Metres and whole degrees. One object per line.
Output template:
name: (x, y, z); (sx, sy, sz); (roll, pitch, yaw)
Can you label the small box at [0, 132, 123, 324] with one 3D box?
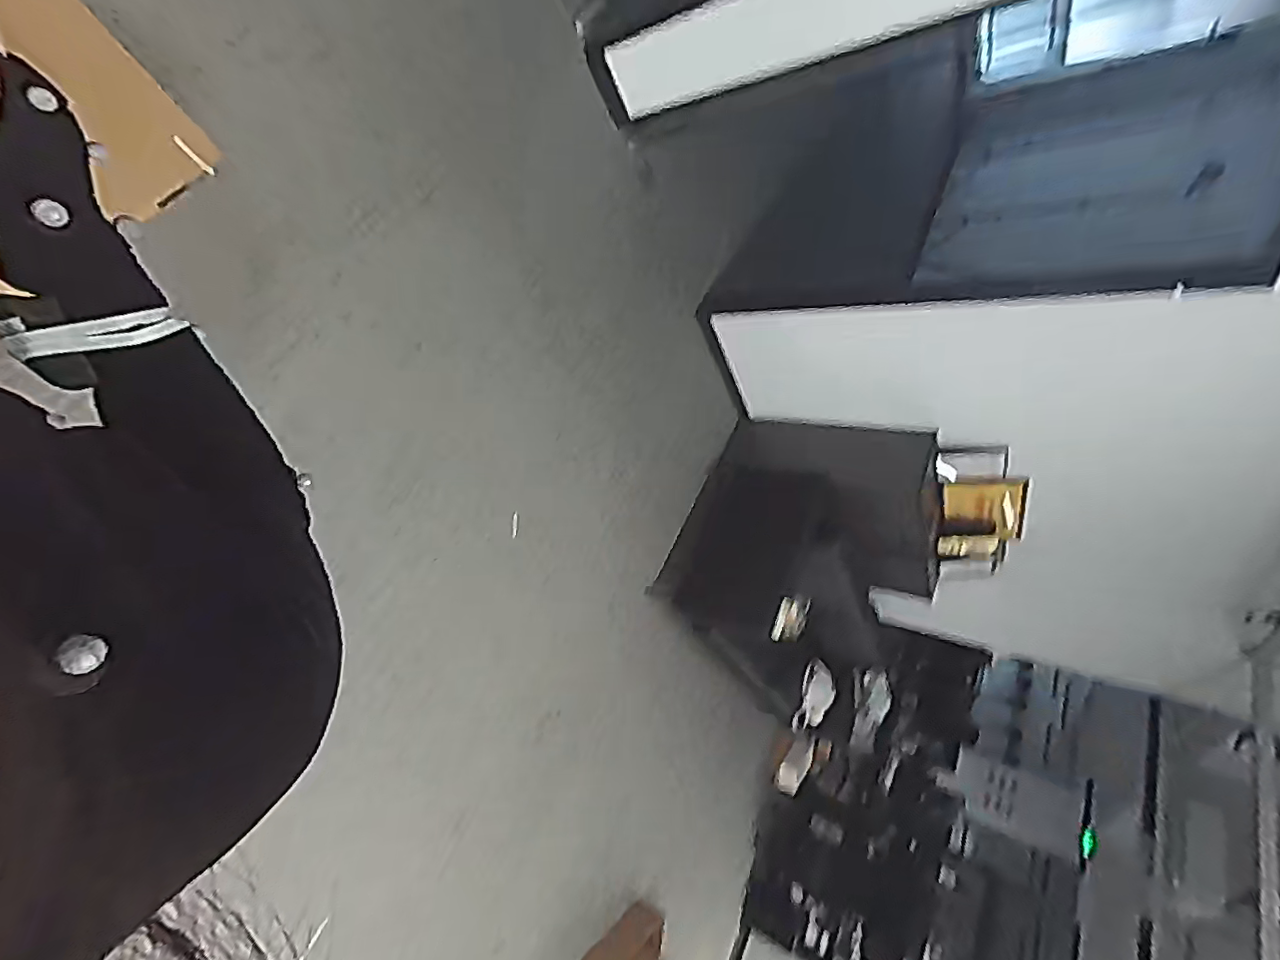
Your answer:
small box: (-0.863, -0.325, 0.715); (0.179, 0.176, 0.168); (-59, 140, -28)
